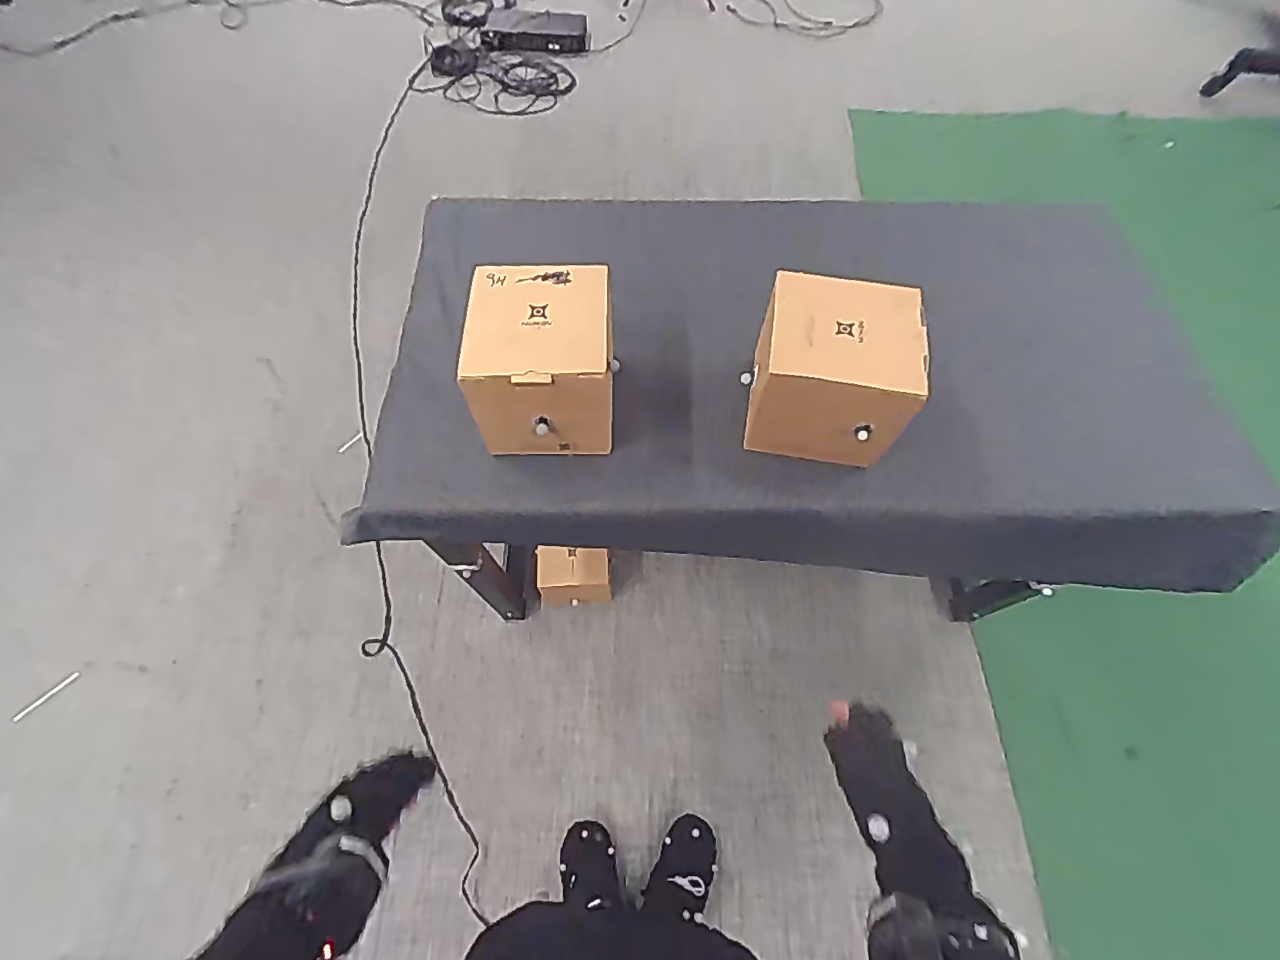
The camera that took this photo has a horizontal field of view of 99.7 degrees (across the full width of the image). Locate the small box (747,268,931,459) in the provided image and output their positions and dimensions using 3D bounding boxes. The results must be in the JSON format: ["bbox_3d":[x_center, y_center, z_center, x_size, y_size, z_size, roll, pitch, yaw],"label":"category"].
[{"bbox_3d":[0.245,-0.143,0.700,0.179,0.176,0.168,8,62,5],"label":"small box"}]

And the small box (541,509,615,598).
[{"bbox_3d":[-0.150,0.185,1.348,0.168,0.176,0.179,-3,65,-1],"label":"small box"}]

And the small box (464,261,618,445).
[{"bbox_3d":[-0.114,-0.156,0.702,0.168,0.176,0.179,-1,63,-1],"label":"small box"}]
